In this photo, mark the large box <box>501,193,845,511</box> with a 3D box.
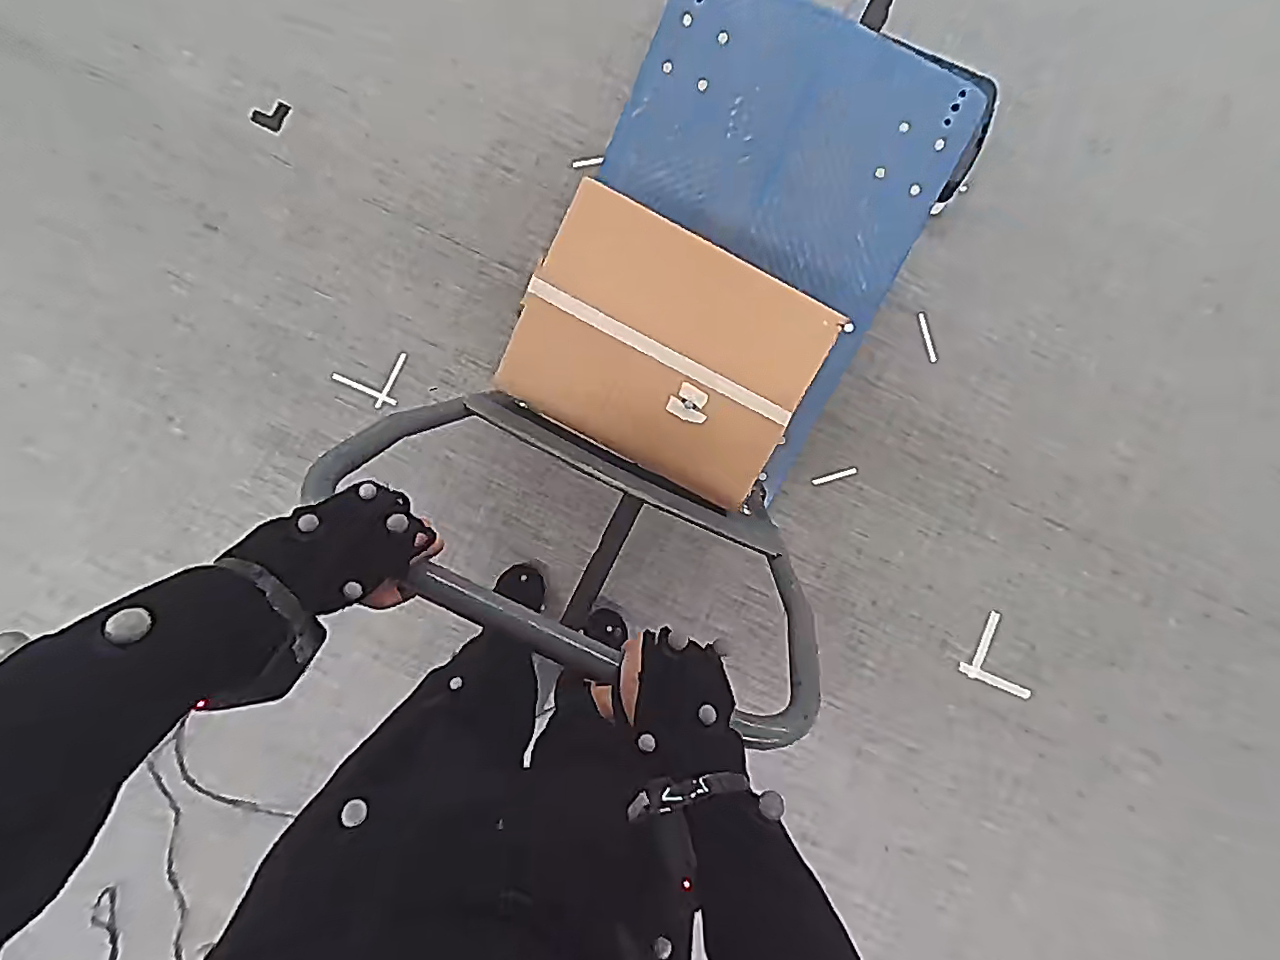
[{"bbox_3d":[0.045,-0.199,0.909,0.408,0.320,0.320,27,102,-2],"label":"large box"}]
